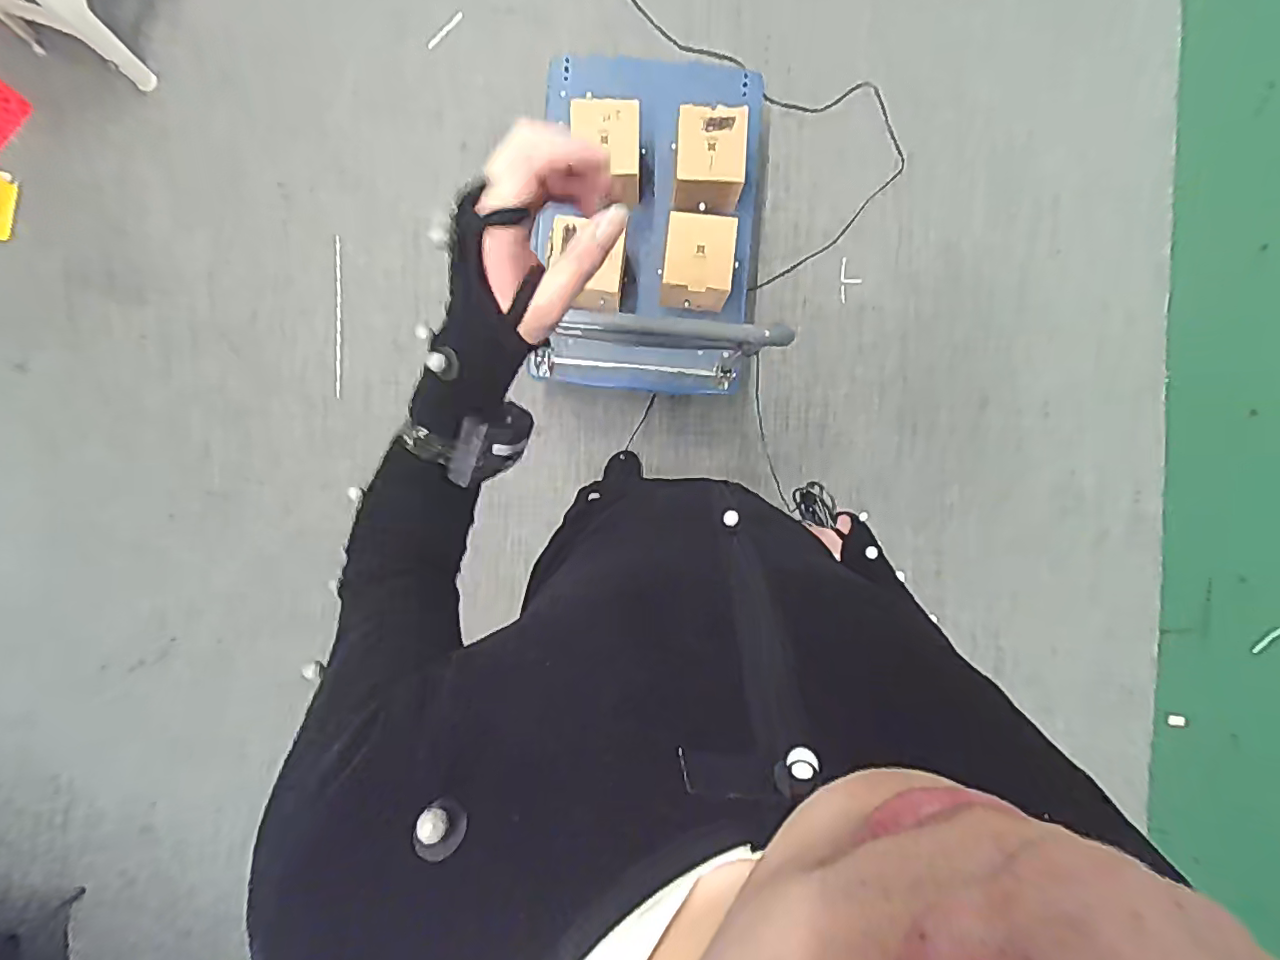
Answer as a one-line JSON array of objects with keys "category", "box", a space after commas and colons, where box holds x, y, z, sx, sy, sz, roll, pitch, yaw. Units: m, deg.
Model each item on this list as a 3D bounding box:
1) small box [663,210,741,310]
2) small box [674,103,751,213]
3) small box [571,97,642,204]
[{"category": "small box", "box": [0.148, -0.547, 1.363, 0.168, 0.176, 0.179, 6, 92, -1]}, {"category": "small box", "box": [0.176, -0.800, 1.354, 0.168, 0.176, 0.179, 3, 93, 0]}, {"category": "small box", "box": [-0.079, -0.814, 1.351, 0.168, 0.176, 0.179, 1, 92, -1]}]
